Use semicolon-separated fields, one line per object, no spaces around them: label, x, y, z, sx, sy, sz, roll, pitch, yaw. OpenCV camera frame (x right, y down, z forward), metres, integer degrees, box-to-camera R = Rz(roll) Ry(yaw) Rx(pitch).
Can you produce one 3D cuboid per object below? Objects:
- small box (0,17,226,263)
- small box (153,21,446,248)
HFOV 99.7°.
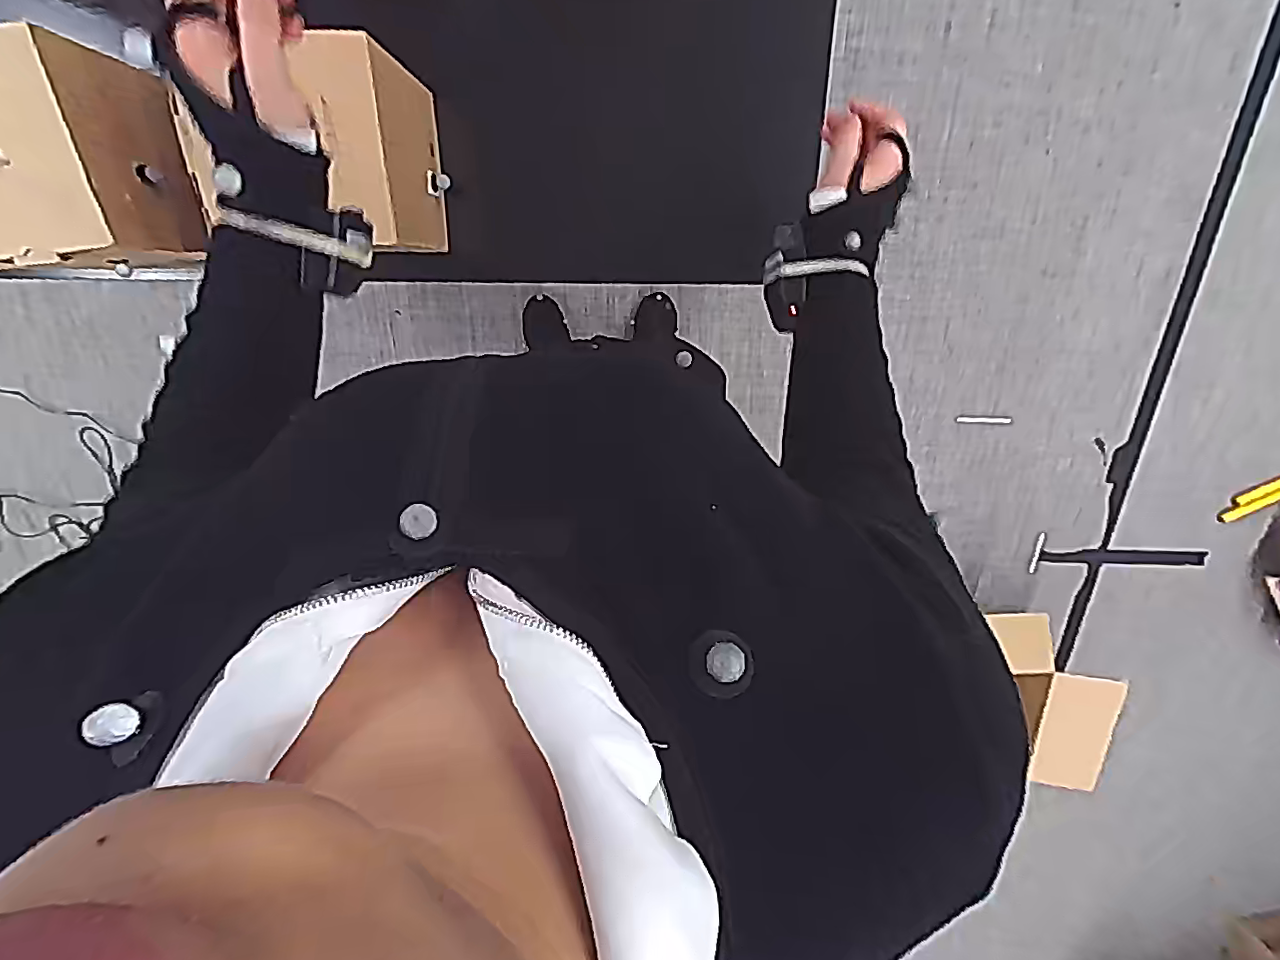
small box;-0.575;-0.320;0.547;0.168;0.176;0.179;-6;111;1
small box;-0.318;-0.329;0.549;0.179;0.176;0.168;-1;111;-2
